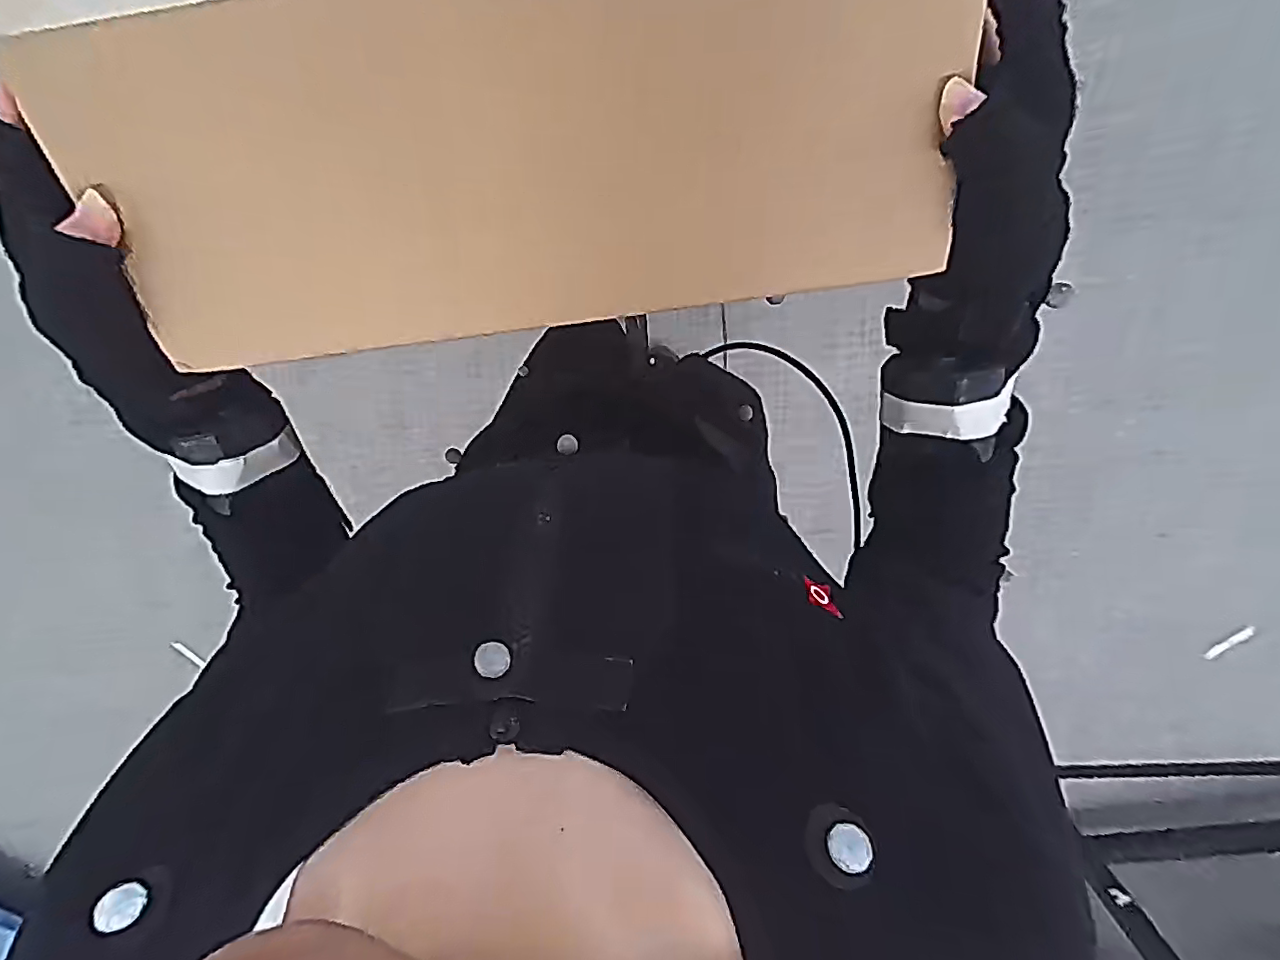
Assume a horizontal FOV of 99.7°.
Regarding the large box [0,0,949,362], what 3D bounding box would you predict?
[{"bbox_3d":[-0.071,-0.297,0.343,0.408,0.320,0.320,-7,119,5],"label":"large box"}]
